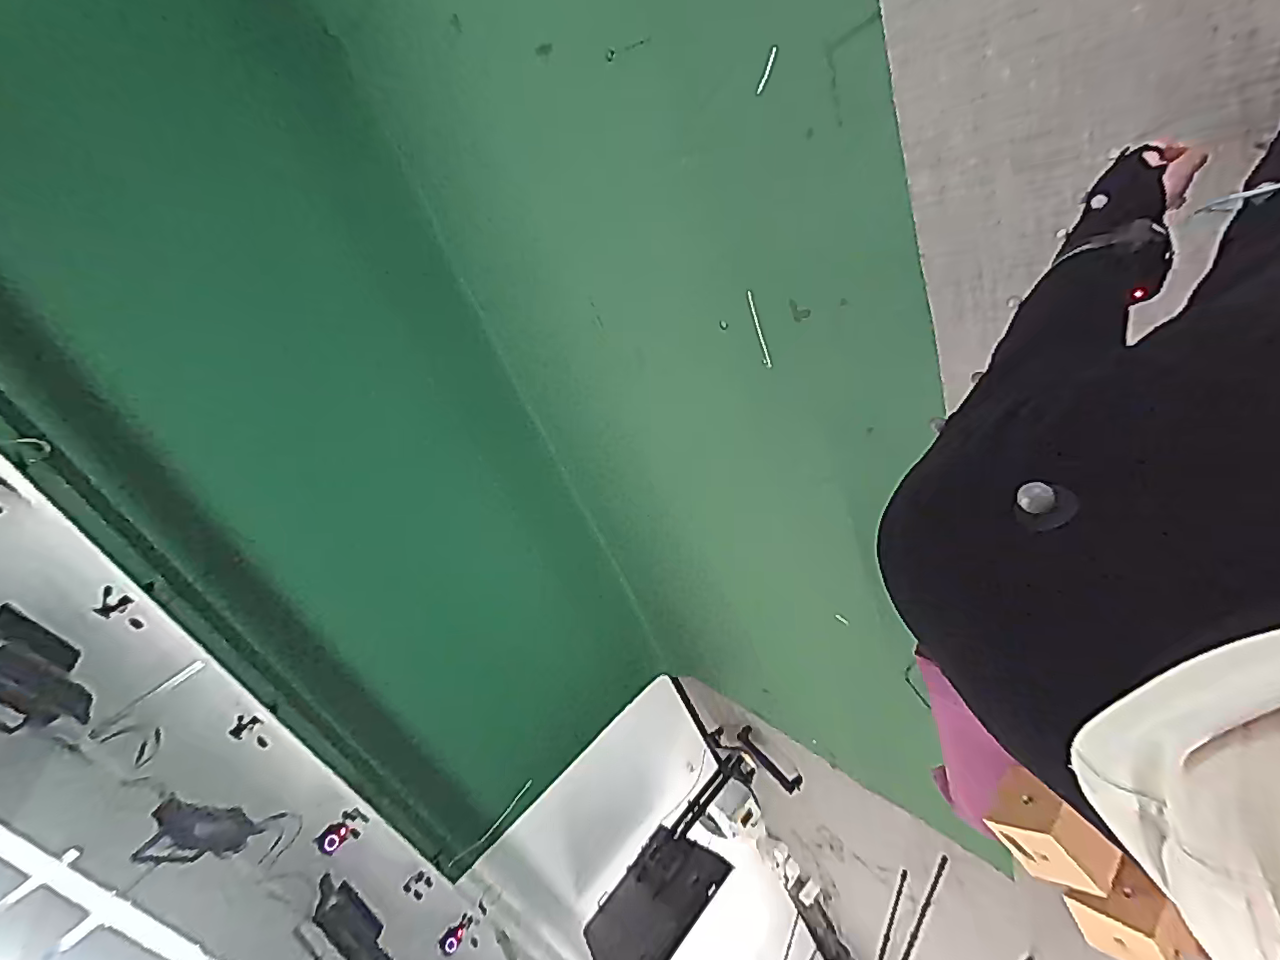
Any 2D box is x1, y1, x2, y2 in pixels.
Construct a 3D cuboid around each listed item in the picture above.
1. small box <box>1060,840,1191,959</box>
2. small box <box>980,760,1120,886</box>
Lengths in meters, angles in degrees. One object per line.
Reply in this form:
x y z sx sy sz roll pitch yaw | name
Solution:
1.107 0.953 1.232 0.179 0.176 0.168 57 153 -12 | small box
0.951 0.781 1.256 0.168 0.176 0.179 48 152 5 | small box
